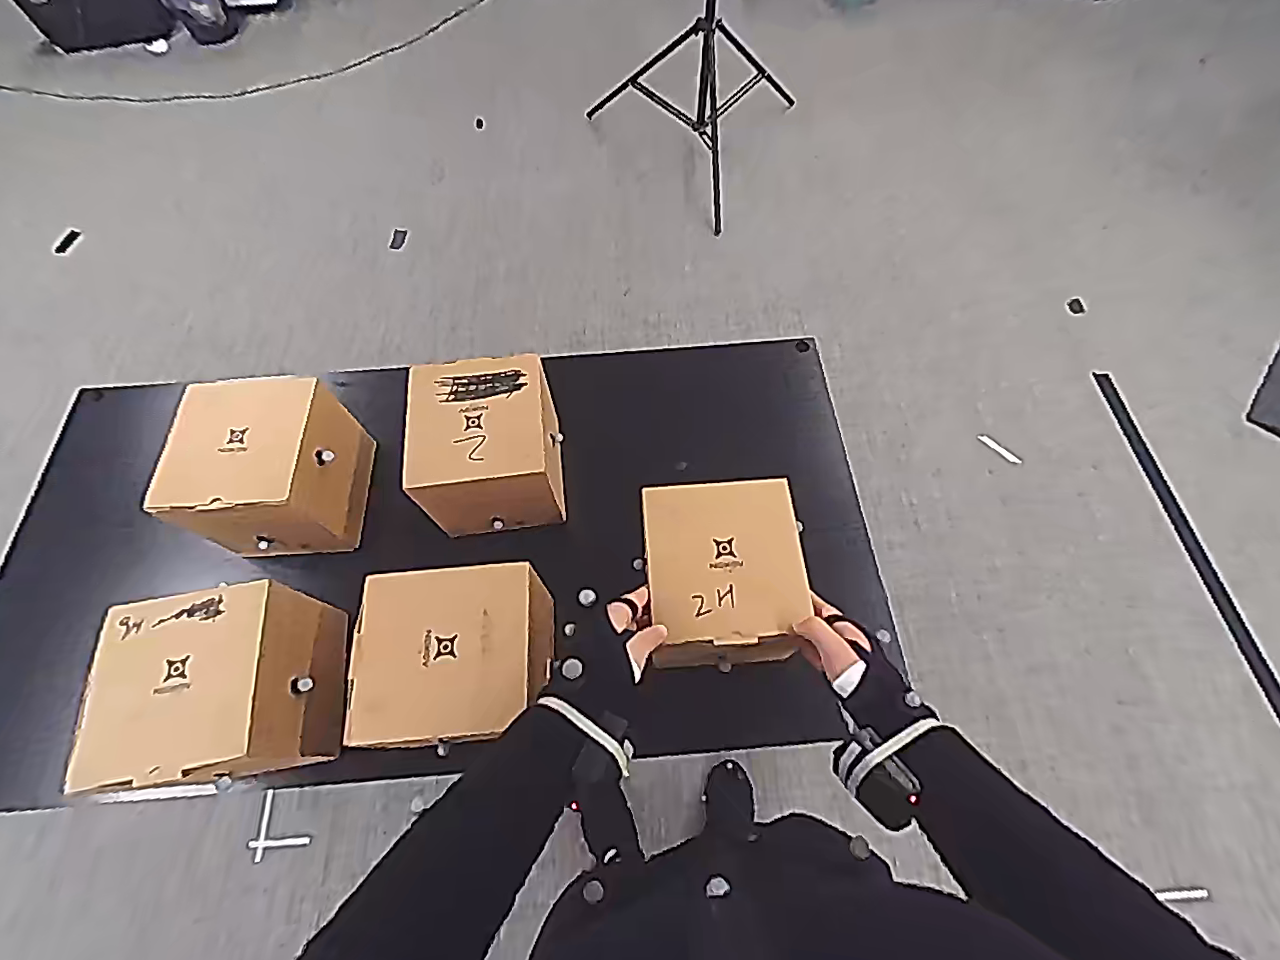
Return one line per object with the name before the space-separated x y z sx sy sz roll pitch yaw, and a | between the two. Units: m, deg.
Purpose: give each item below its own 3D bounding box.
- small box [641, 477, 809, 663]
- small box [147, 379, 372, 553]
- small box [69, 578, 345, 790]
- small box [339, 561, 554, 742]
small box | 0.086 0.113 0.648 0.168 0.176 0.179 -4 64 1
small box | -0.486 -0.014 0.726 0.168 0.176 0.179 -3 64 0
small box | -0.456 0.227 0.606 0.168 0.176 0.179 -10 64 -4
small box | -0.200 0.201 0.614 0.179 0.176 0.168 -4 64 -1
